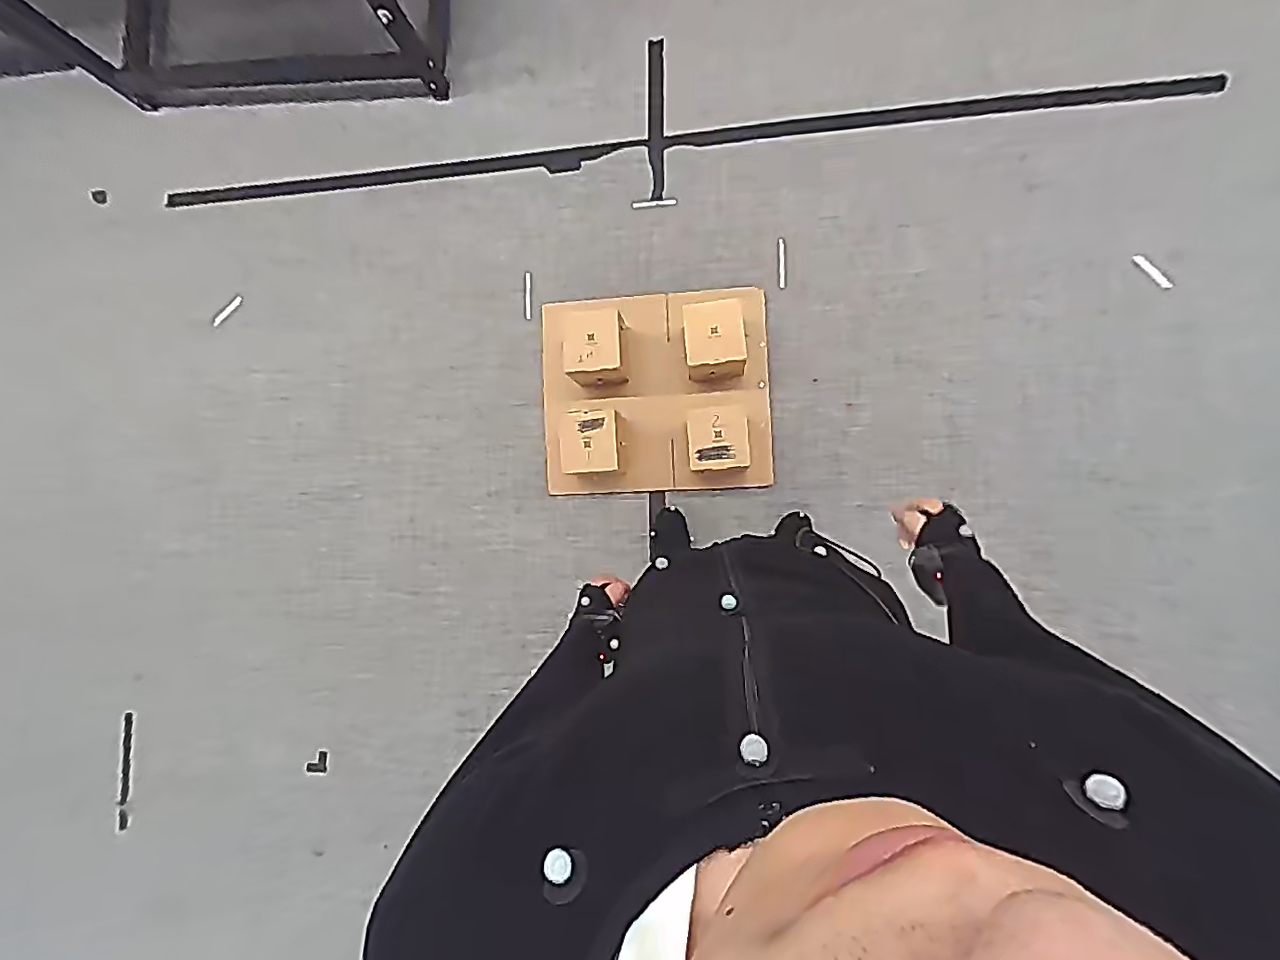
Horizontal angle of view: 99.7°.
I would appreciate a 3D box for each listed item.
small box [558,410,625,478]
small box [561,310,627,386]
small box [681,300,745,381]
[{"bbox_3d":[-0.140,-0.101,1.598,0.168,0.176,0.179,-4,88,8],"label":"small box"},{"bbox_3d":[-0.133,-0.386,1.607,0.168,0.176,0.179,-3,88,8],"label":"small box"},{"bbox_3d":[0.208,-0.398,1.570,0.168,0.176,0.179,-6,87,7],"label":"small box"}]
